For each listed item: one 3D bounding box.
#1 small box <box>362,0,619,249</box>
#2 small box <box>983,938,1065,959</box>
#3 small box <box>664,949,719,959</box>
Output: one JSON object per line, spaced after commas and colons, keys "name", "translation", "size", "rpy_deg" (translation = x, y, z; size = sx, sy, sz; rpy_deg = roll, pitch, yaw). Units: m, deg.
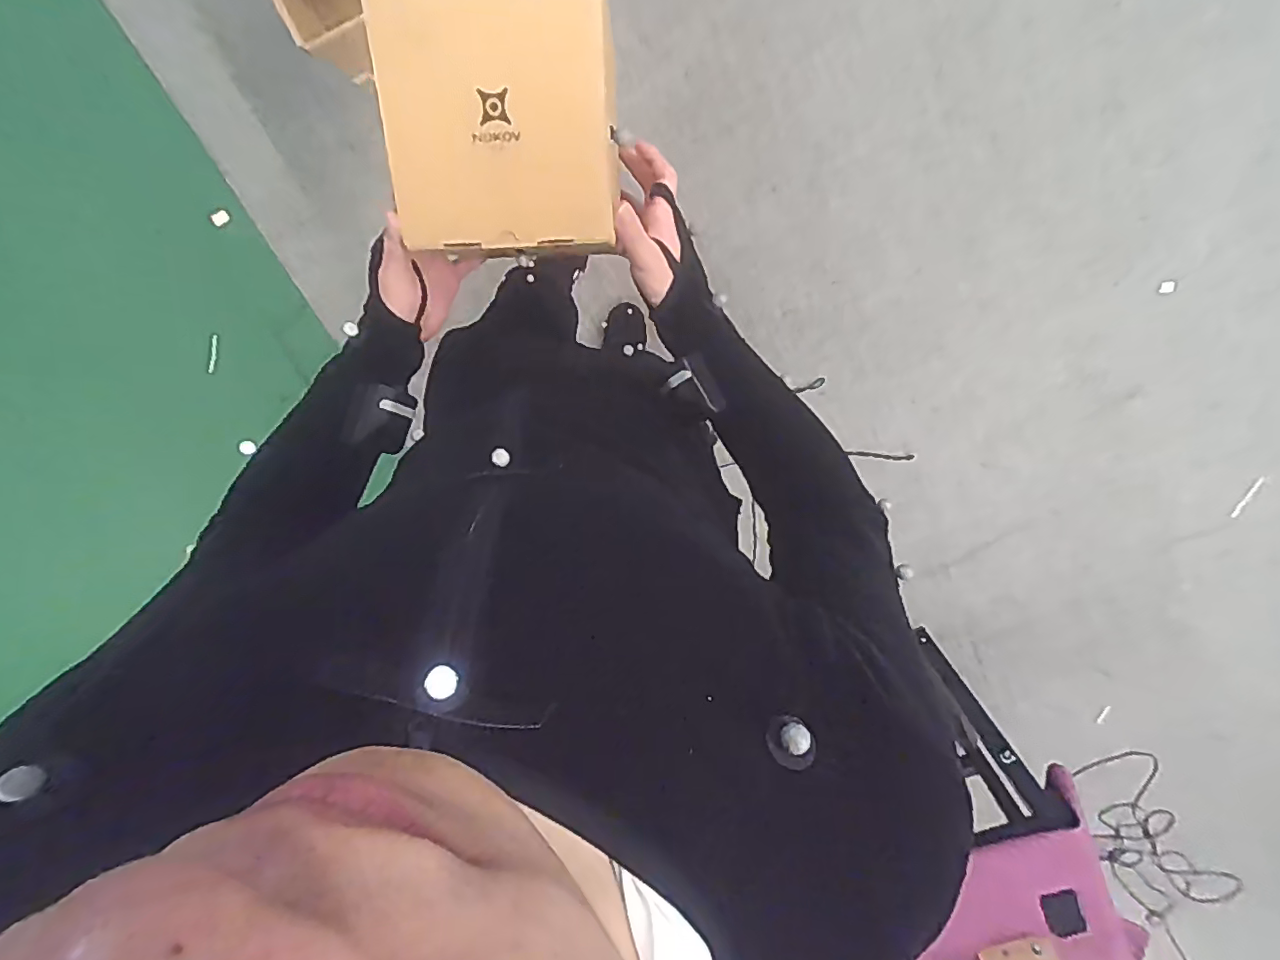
{"name": "small box", "translation": [-0.106, -0.298, 0.463], "size": [0.168, 0.176, 0.179], "rpy_deg": [-2, 112, 1]}
{"name": "small box", "translation": [0.936, 1.204, 1.251], "size": [0.168, 0.176, 0.179], "rpy_deg": [-27, 109, 12]}
{"name": "small box", "translation": [0.142, 1.297, 1.314], "size": [0.168, 0.176, 0.179], "rpy_deg": [-27, 108, 11]}
